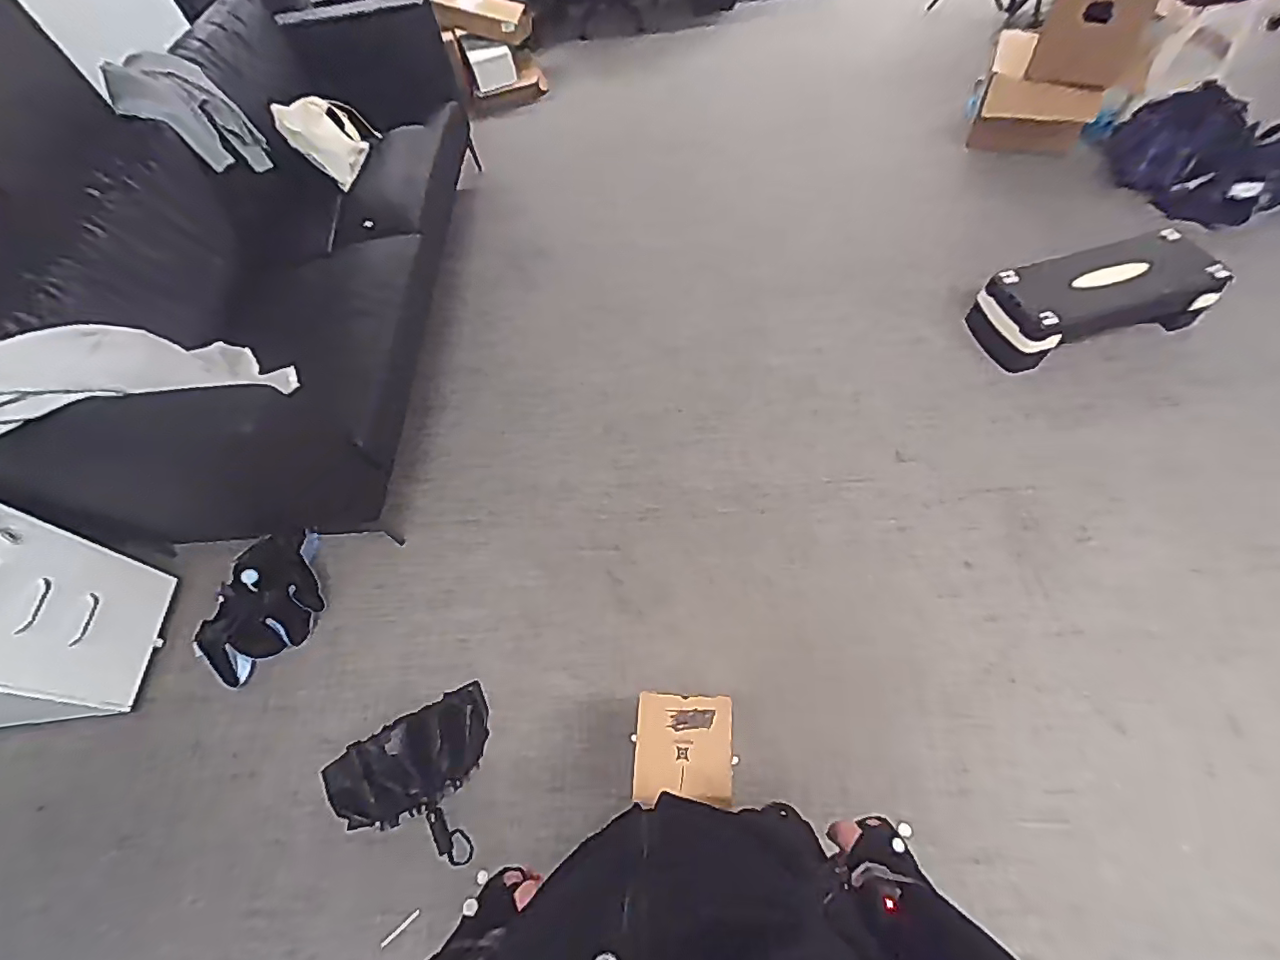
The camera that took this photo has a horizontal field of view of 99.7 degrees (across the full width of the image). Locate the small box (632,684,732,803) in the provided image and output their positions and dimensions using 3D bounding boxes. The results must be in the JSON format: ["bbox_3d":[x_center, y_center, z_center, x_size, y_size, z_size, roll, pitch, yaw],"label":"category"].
[{"bbox_3d":[0.081,0.488,1.000,0.168,0.176,0.179,1,61,7],"label":"small box"}]
